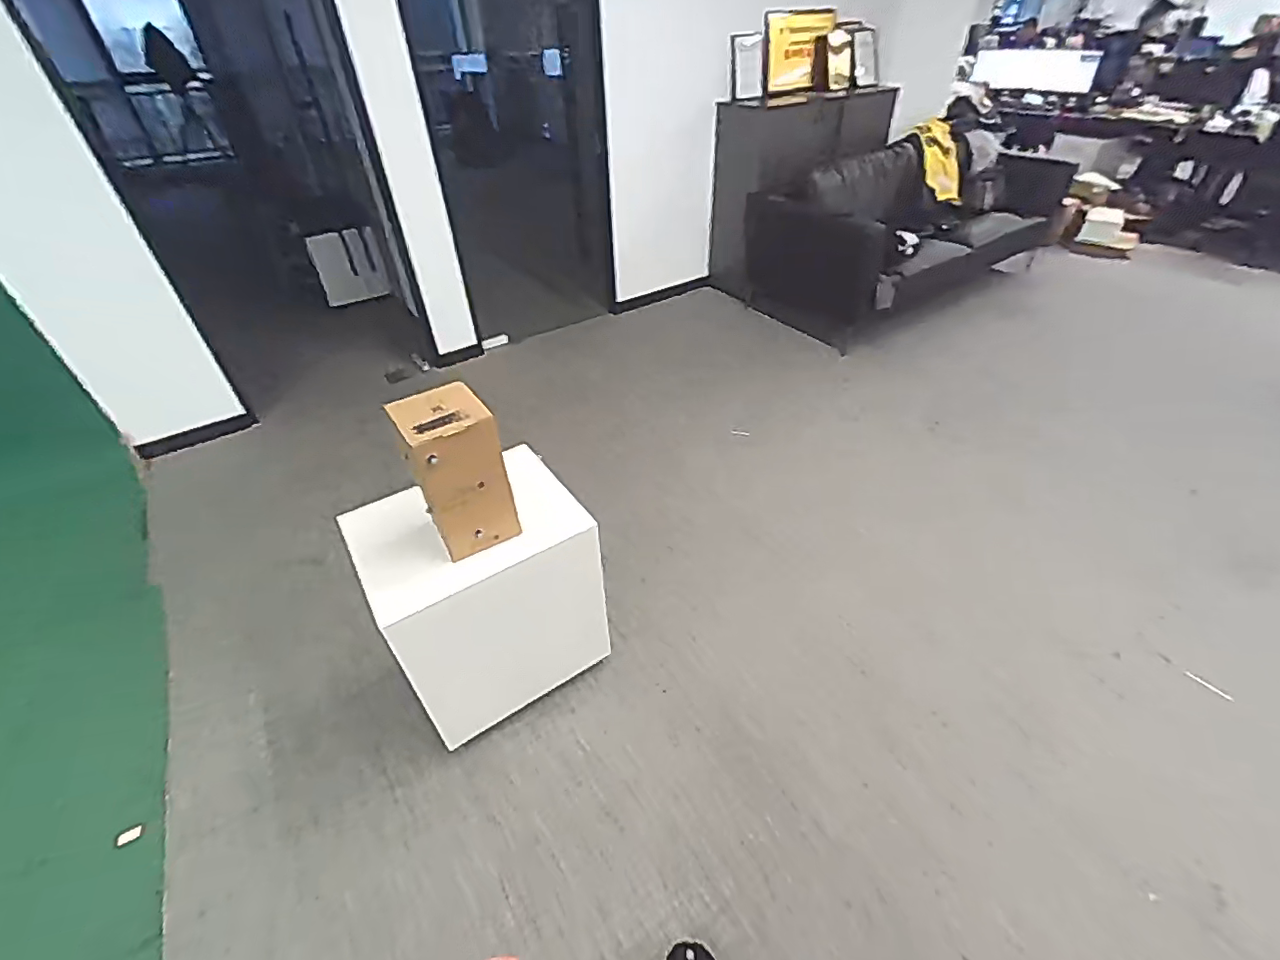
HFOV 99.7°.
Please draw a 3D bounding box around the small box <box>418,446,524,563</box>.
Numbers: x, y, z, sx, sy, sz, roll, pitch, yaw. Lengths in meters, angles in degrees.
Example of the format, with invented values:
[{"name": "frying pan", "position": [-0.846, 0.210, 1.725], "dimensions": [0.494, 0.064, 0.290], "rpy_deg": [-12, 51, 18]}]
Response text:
[{"name": "small box", "position": [-0.382, 0.055, 1.232], "dimensions": [0.168, 0.176, 0.179], "rpy_deg": [-23, 44, -23]}]
